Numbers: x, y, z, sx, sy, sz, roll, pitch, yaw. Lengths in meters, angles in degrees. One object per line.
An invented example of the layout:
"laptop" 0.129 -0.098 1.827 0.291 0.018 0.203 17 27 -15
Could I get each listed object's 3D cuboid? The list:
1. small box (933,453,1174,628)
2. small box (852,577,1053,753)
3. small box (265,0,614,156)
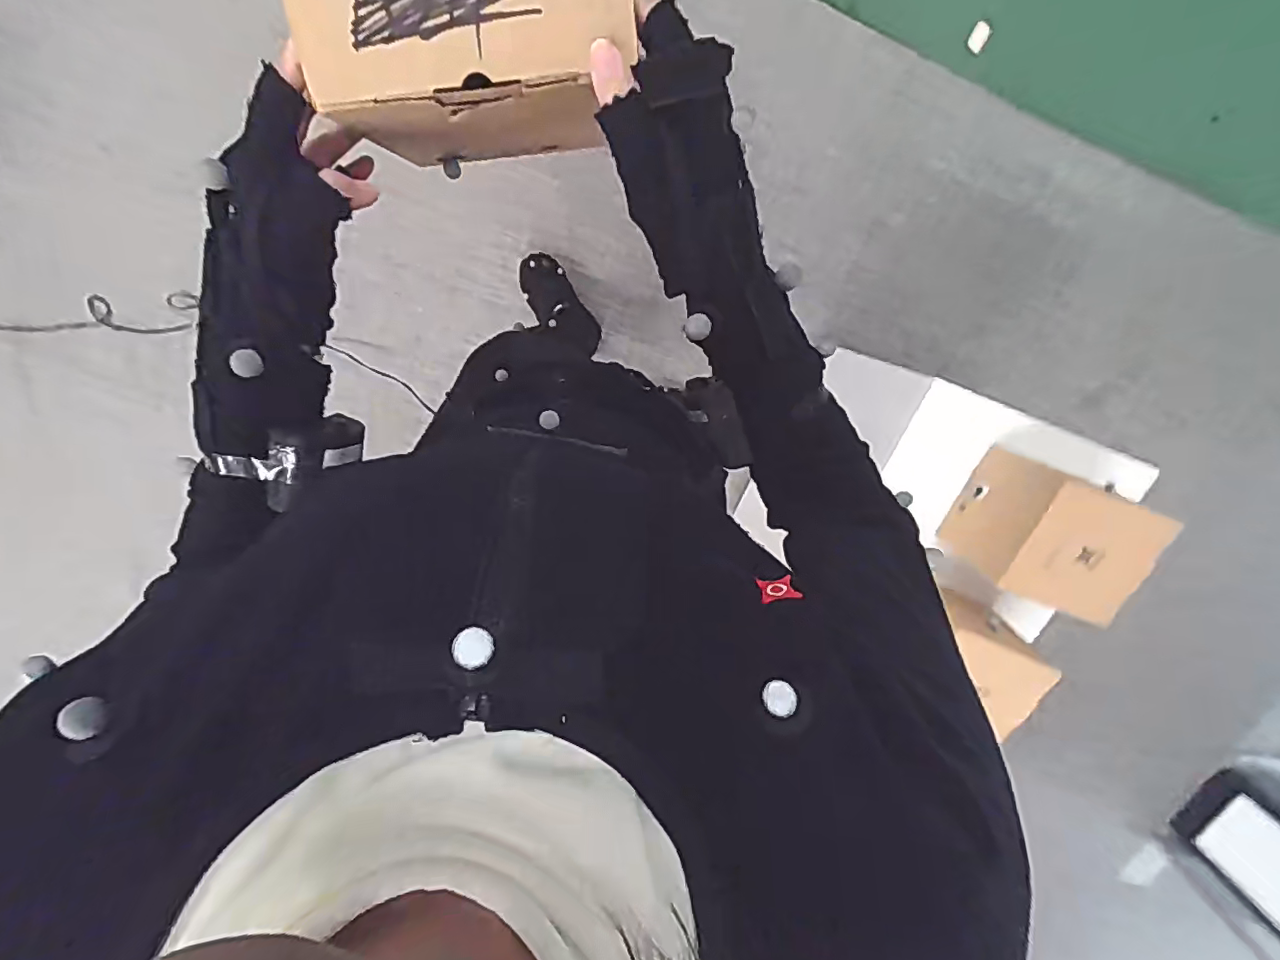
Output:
"small box" 0.572 0.077 0.777 0.179 0.176 0.168 20 108 -5
"small box" 0.472 0.280 0.847 0.179 0.176 0.168 24 108 -8
"small box" -0.106 -0.307 0.318 0.168 0.176 0.179 -8 110 0
